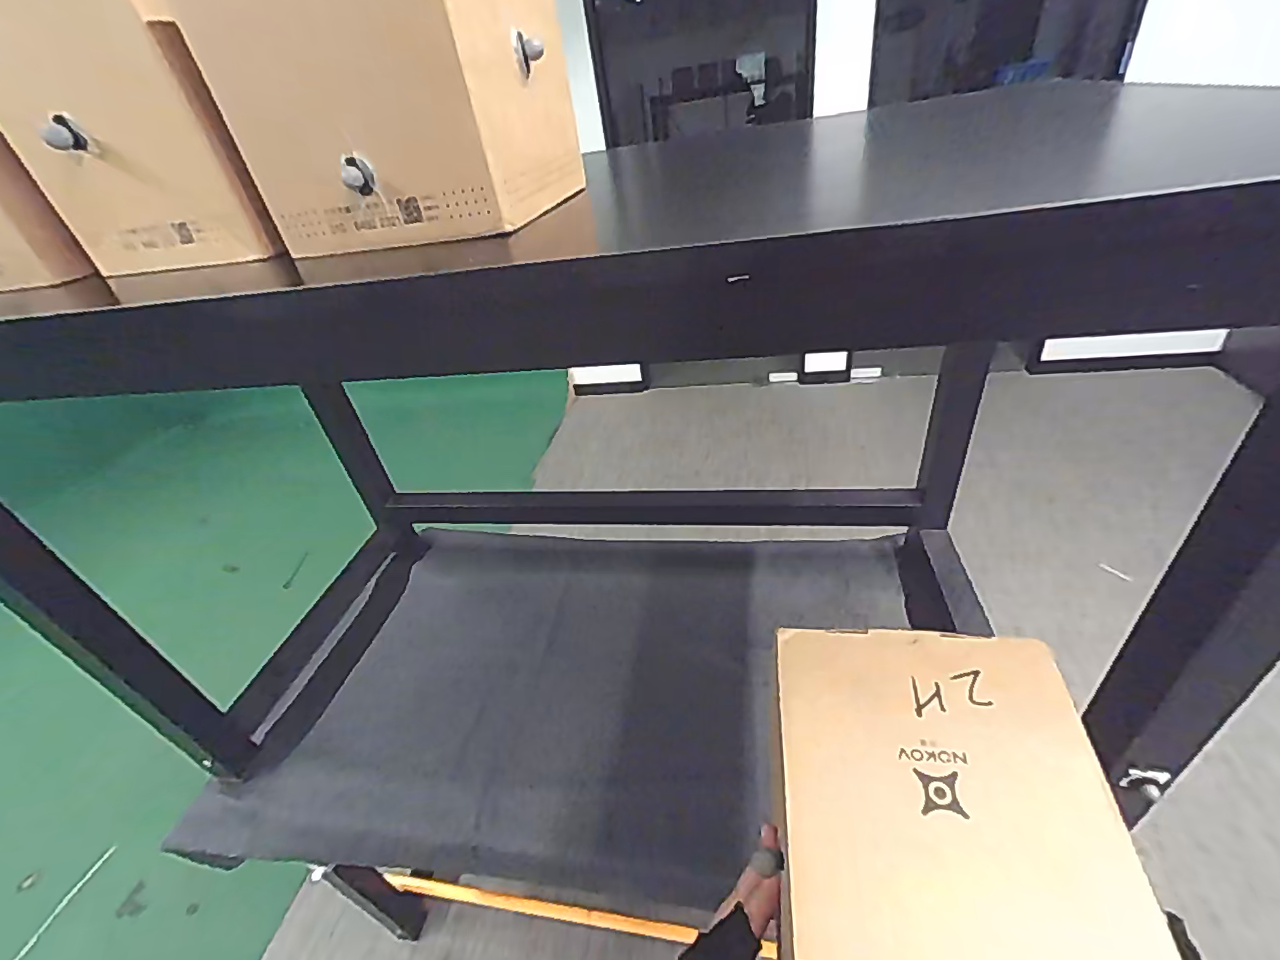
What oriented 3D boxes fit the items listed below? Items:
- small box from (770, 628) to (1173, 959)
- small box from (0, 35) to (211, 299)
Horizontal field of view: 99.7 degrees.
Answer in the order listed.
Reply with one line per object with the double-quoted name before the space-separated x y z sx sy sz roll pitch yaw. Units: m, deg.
"small box" 0.173 0.218 0.352 0.168 0.176 0.179 0 46 11
"small box" -0.531 -0.267 0.471 0.168 0.176 0.179 0 37 14
